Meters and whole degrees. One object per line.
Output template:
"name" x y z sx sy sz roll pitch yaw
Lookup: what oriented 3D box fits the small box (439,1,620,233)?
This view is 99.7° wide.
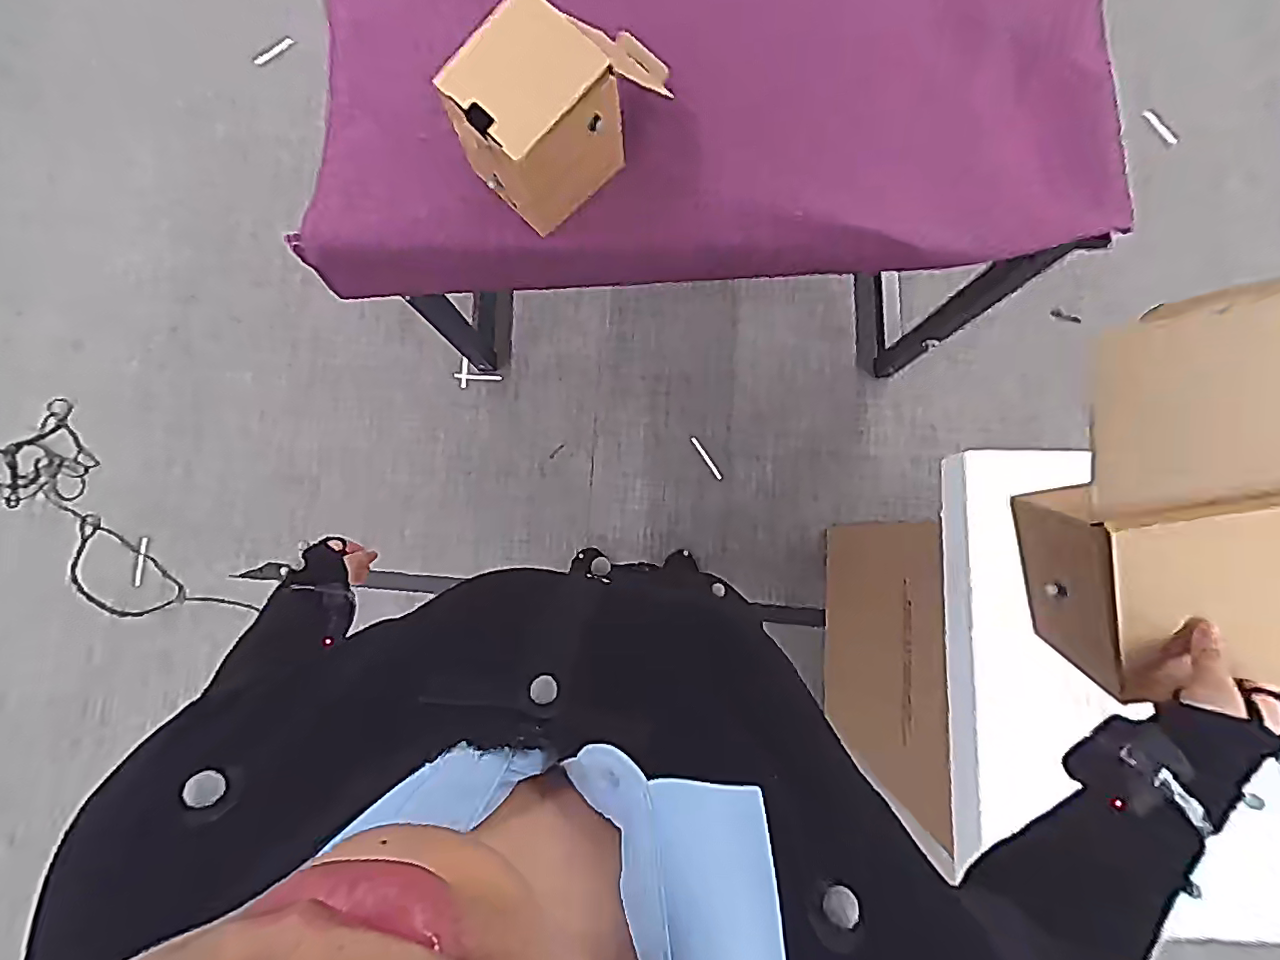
"small box" -0.143 -0.501 0.771 0.179 0.176 0.168 -44 83 -4
